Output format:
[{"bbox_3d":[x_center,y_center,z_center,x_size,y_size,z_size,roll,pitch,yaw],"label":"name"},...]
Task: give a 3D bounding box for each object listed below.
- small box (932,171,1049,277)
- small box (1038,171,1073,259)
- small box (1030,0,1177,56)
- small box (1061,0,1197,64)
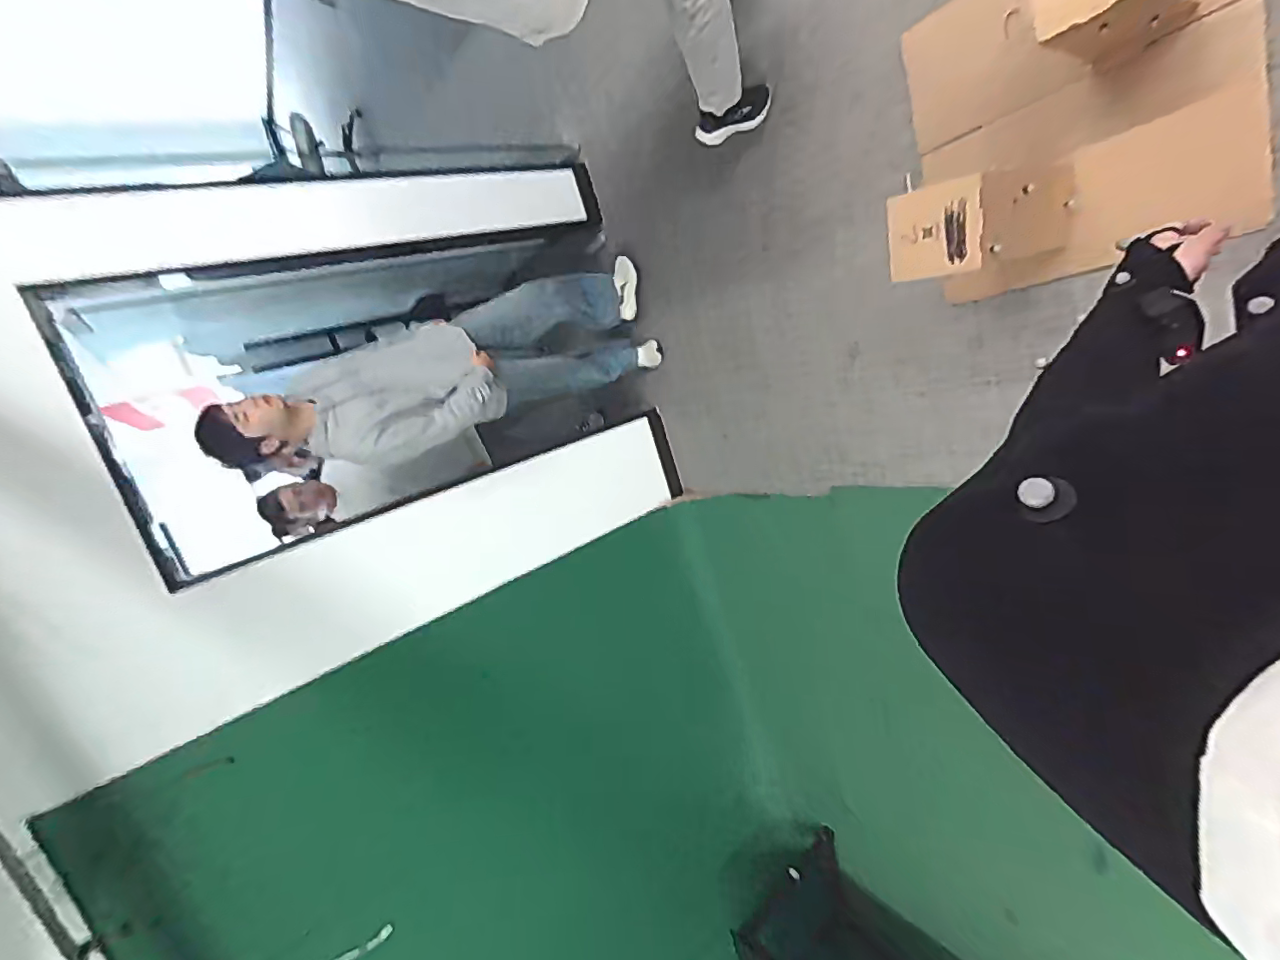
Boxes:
[{"bbox_3d":[0.758,-0.551,1.170,0.168,0.176,0.179,13,120,53],"label":"small box"},{"bbox_3d":[0.883,-0.605,1.264,0.168,0.176,0.179,13,120,53],"label":"small box"},{"bbox_3d":[0.792,-0.869,0.926,0.168,0.176,0.179,-1,111,55],"label":"small box"},{"bbox_3d":[0.913,-0.925,1.017,0.168,0.176,0.179,1,111,55],"label":"small box"}]
